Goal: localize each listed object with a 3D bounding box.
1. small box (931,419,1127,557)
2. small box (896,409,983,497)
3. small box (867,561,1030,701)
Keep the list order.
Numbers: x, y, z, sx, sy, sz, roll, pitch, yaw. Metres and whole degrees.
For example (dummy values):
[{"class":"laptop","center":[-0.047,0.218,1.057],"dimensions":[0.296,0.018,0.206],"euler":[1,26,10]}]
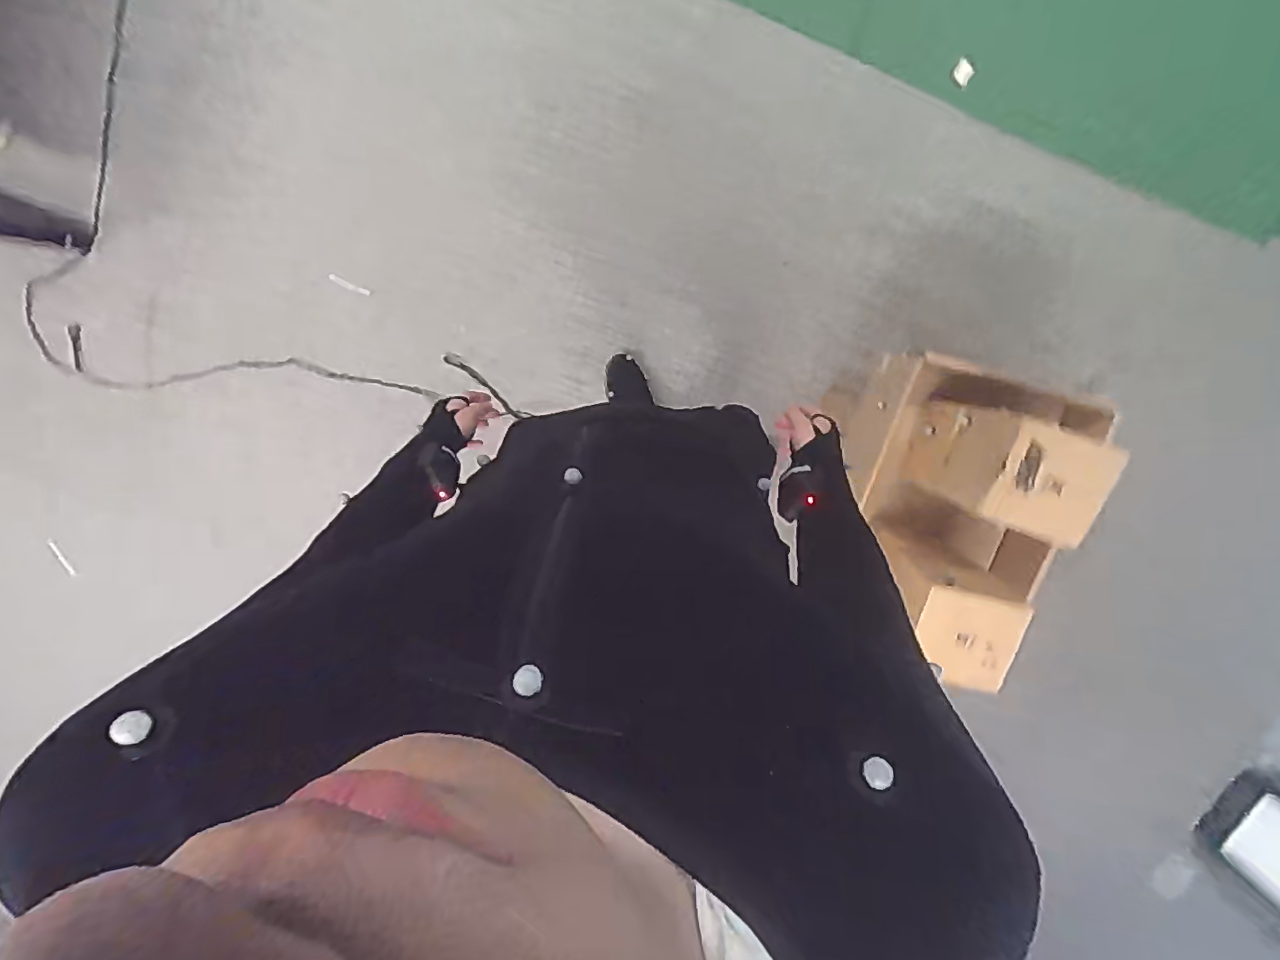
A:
[{"class":"small box","center":[0.637,0.003,0.915],"dimensions":[0.179,0.176,0.168],"euler":[20,104,-4]},{"class":"small box","center":[0.644,-0.038,1.073],"dimensions":[0.179,0.176,0.168],"euler":[16,103,-2]},{"class":"small box","center":[0.543,0.262,0.982],"dimensions":[0.179,0.176,0.168],"euler":[14,105,-1]}]
